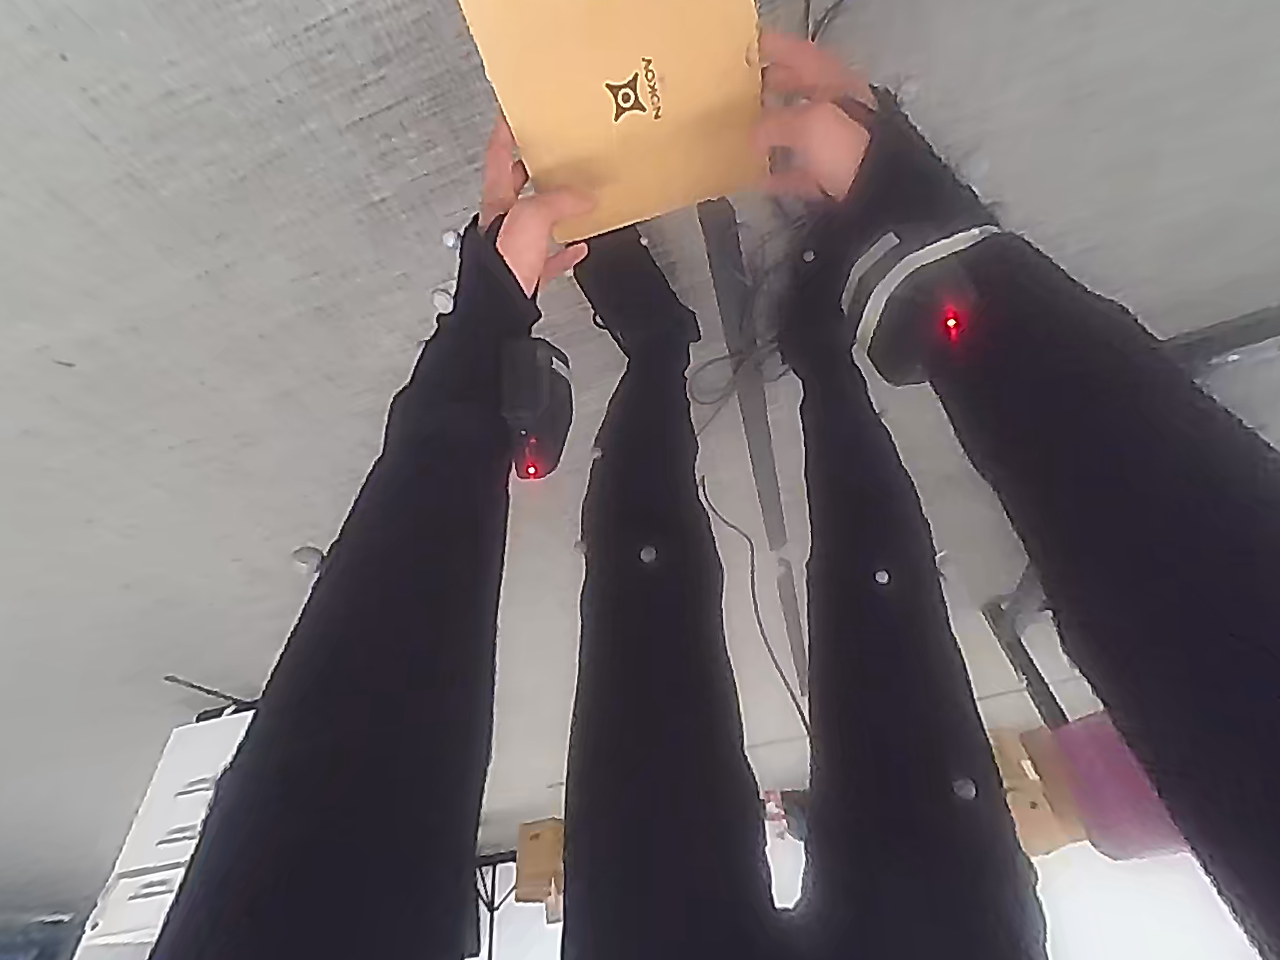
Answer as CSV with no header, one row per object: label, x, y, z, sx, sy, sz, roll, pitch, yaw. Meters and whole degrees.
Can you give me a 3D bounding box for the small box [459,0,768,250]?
small box,-0.012,-0.313,0.415,0.179,0.176,0.168,-14,140,7
